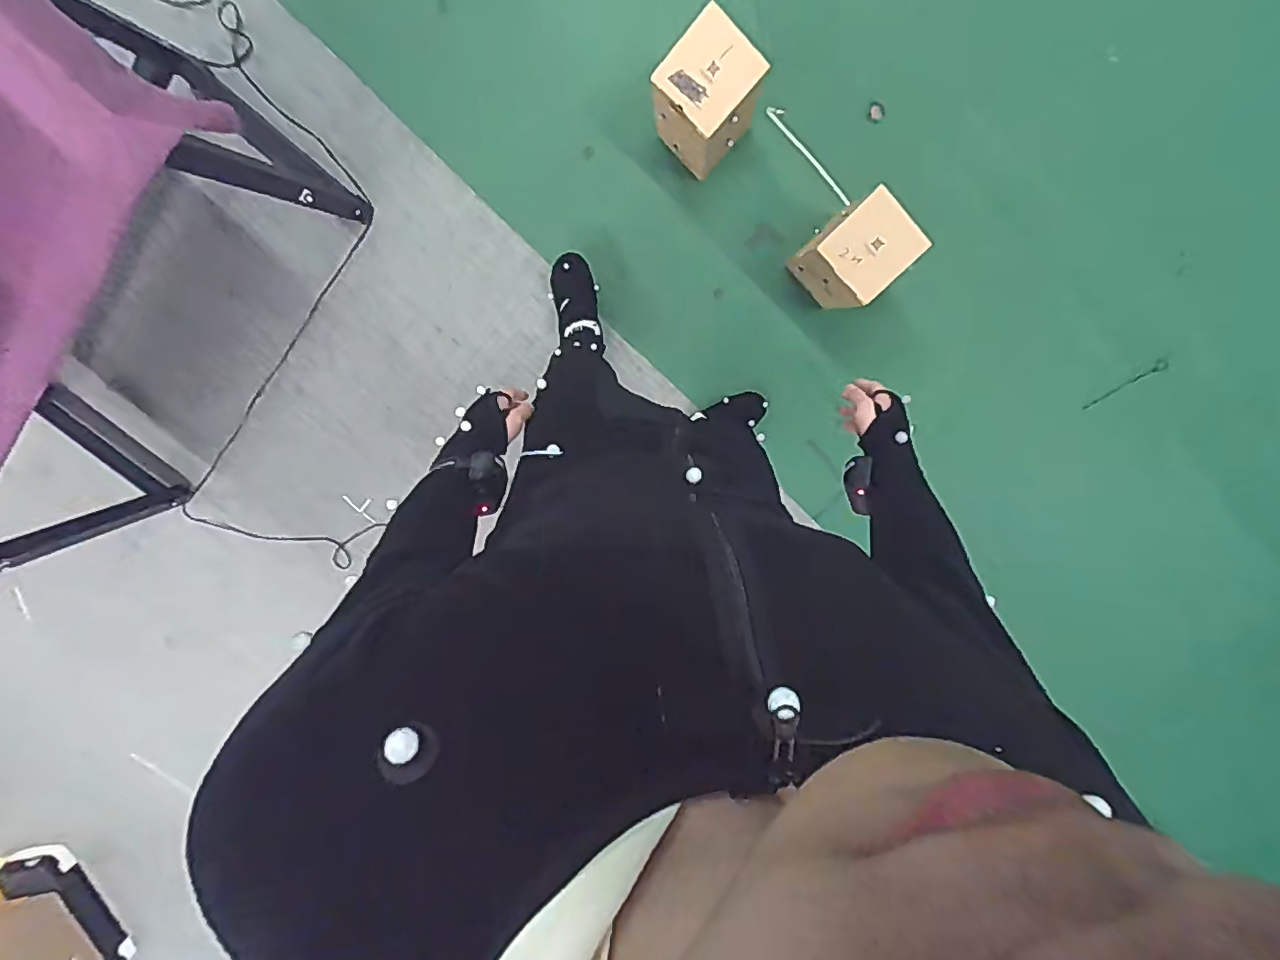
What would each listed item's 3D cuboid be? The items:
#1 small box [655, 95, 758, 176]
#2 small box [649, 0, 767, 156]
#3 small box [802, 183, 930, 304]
[{"bbox_3d":[0.153,-0.874,1.293,0.168,0.176,0.179,43,105,-8],"label":"small box"},{"bbox_3d":[0.141,-0.828,1.137,0.168,0.176,0.179,43,105,-9],"label":"small box"},{"bbox_3d":[0.490,-0.513,1.201,0.179,0.176,0.168,-43,99,14],"label":"small box"}]
